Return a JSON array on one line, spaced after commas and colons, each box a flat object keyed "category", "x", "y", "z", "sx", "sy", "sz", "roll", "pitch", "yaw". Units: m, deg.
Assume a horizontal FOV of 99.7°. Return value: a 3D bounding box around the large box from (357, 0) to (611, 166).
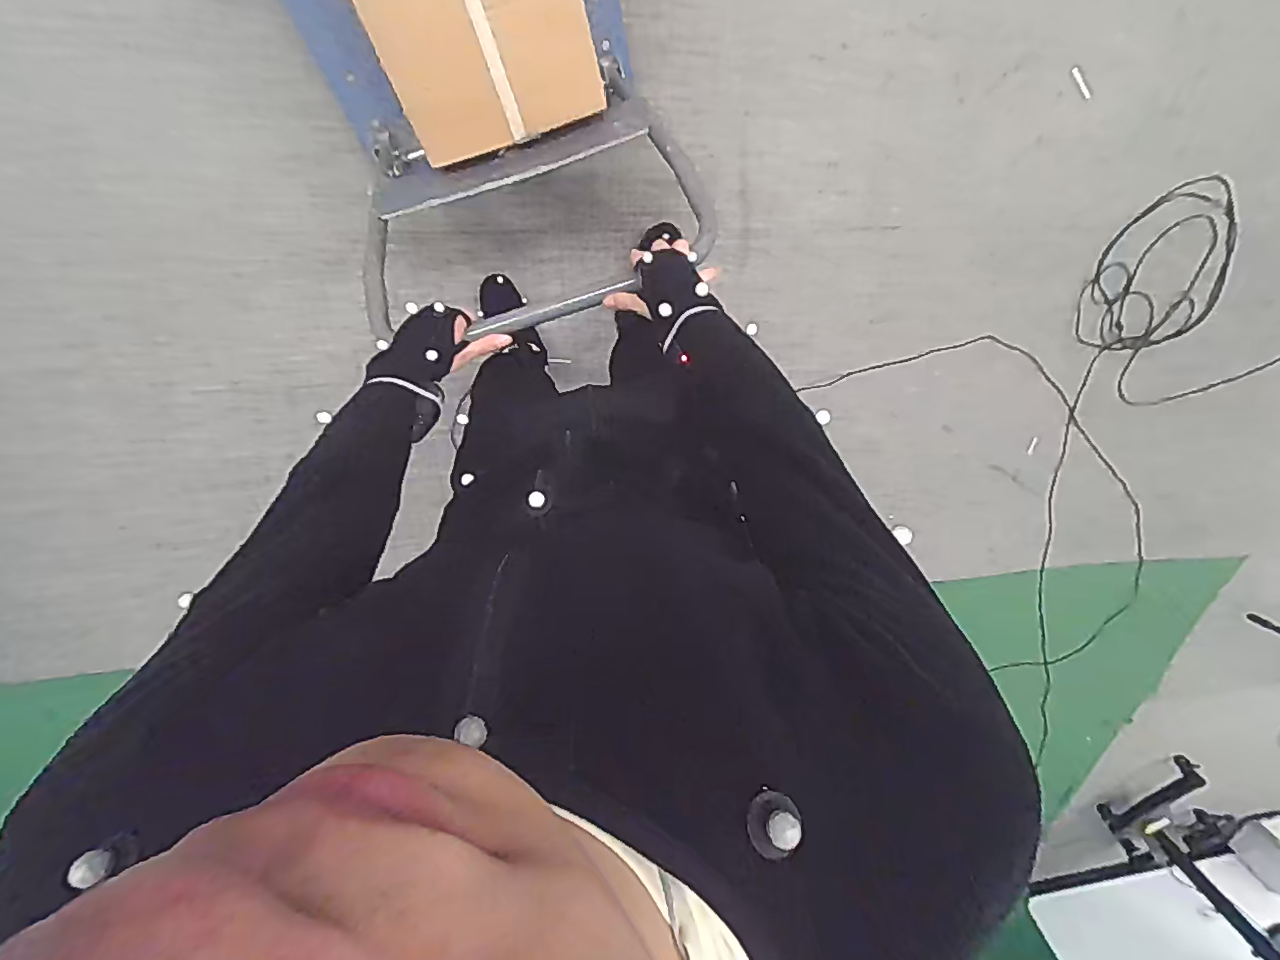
[{"category": "large box", "x": -0.267, "y": -0.794, "z": 0.848, "sx": 0.320, "sy": 0.320, "sz": 0.408, "roll": -19, "pitch": 137, "yaw": 1}]
